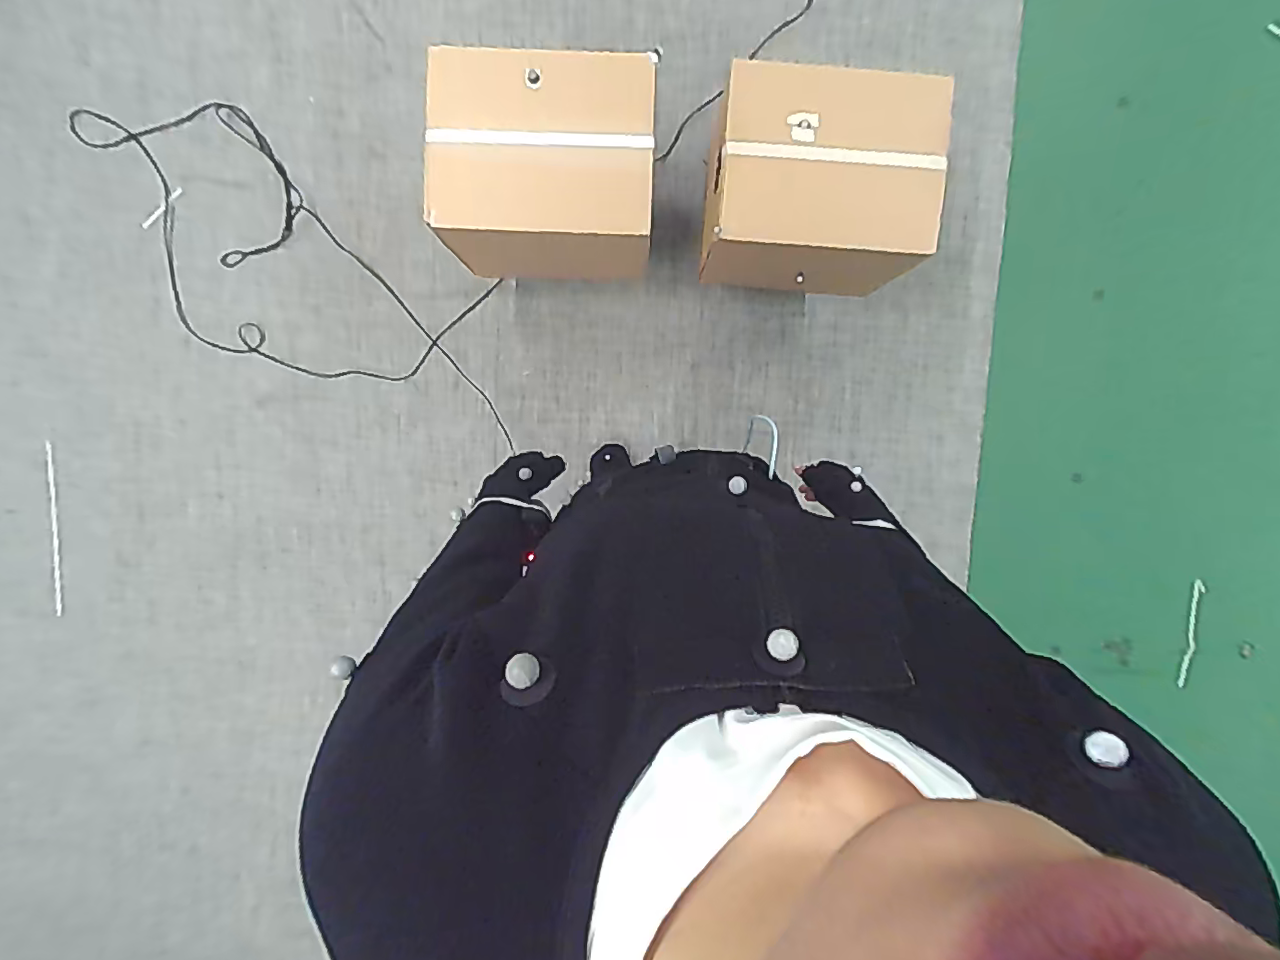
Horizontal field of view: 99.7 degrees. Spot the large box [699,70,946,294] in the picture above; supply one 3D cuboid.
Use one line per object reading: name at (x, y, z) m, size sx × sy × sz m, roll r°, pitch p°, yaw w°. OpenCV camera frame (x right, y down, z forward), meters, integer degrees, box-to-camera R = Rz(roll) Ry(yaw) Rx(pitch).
large box at (0.352, -0.594, 1.141) m, size 0.408 × 0.320 × 0.320 m, roll 4°, pitch 94°, yaw -1°
